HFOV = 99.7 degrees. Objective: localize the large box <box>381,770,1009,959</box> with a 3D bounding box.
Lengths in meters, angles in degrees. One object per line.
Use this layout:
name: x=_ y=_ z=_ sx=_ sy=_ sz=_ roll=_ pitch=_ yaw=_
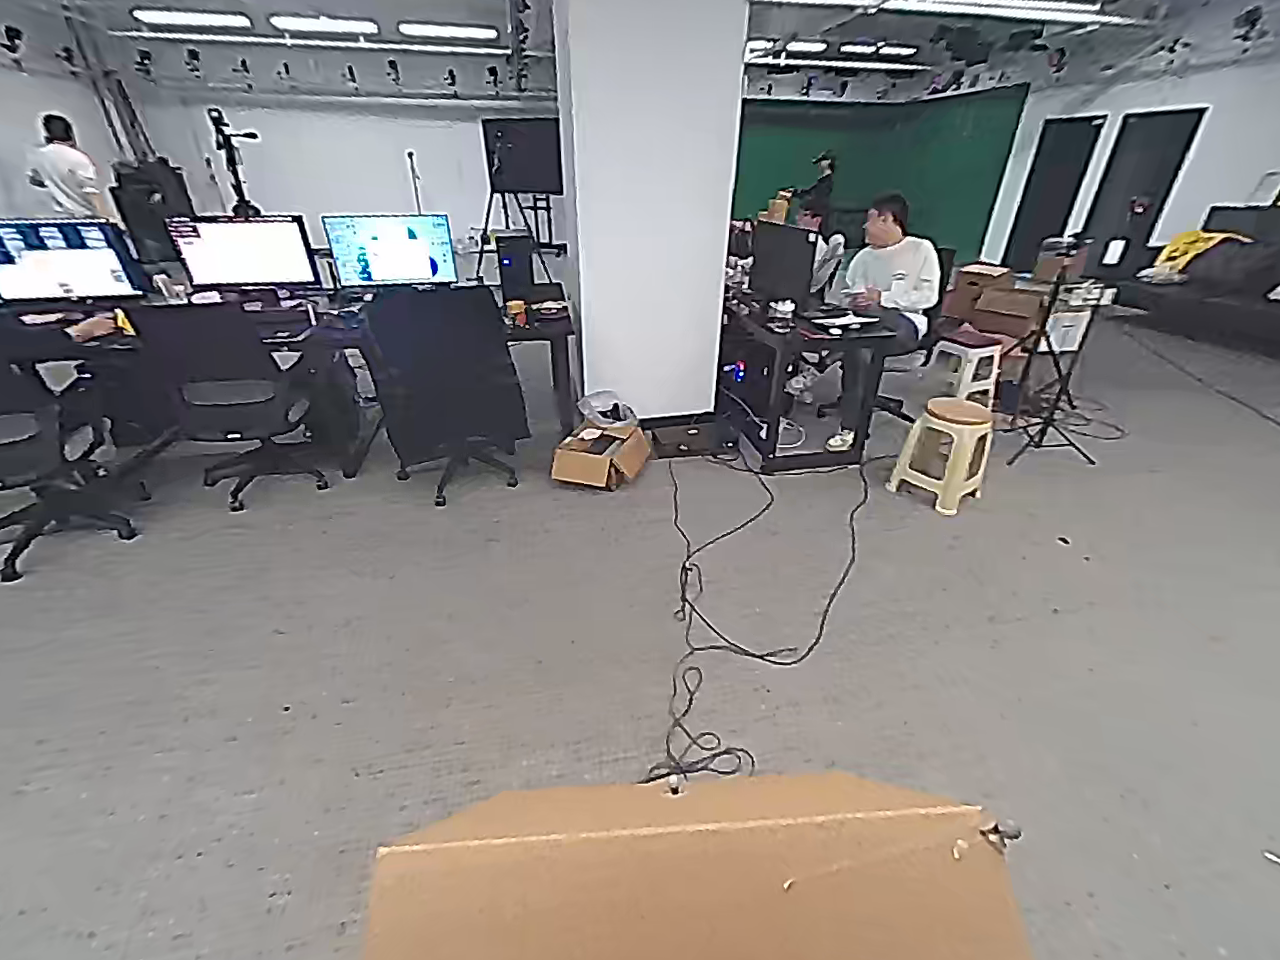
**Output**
large box: x=0.040 y=0.437 z=0.444 sx=0.408 sy=0.320 sz=0.320 roll=-4 pitch=67 yaw=-1
